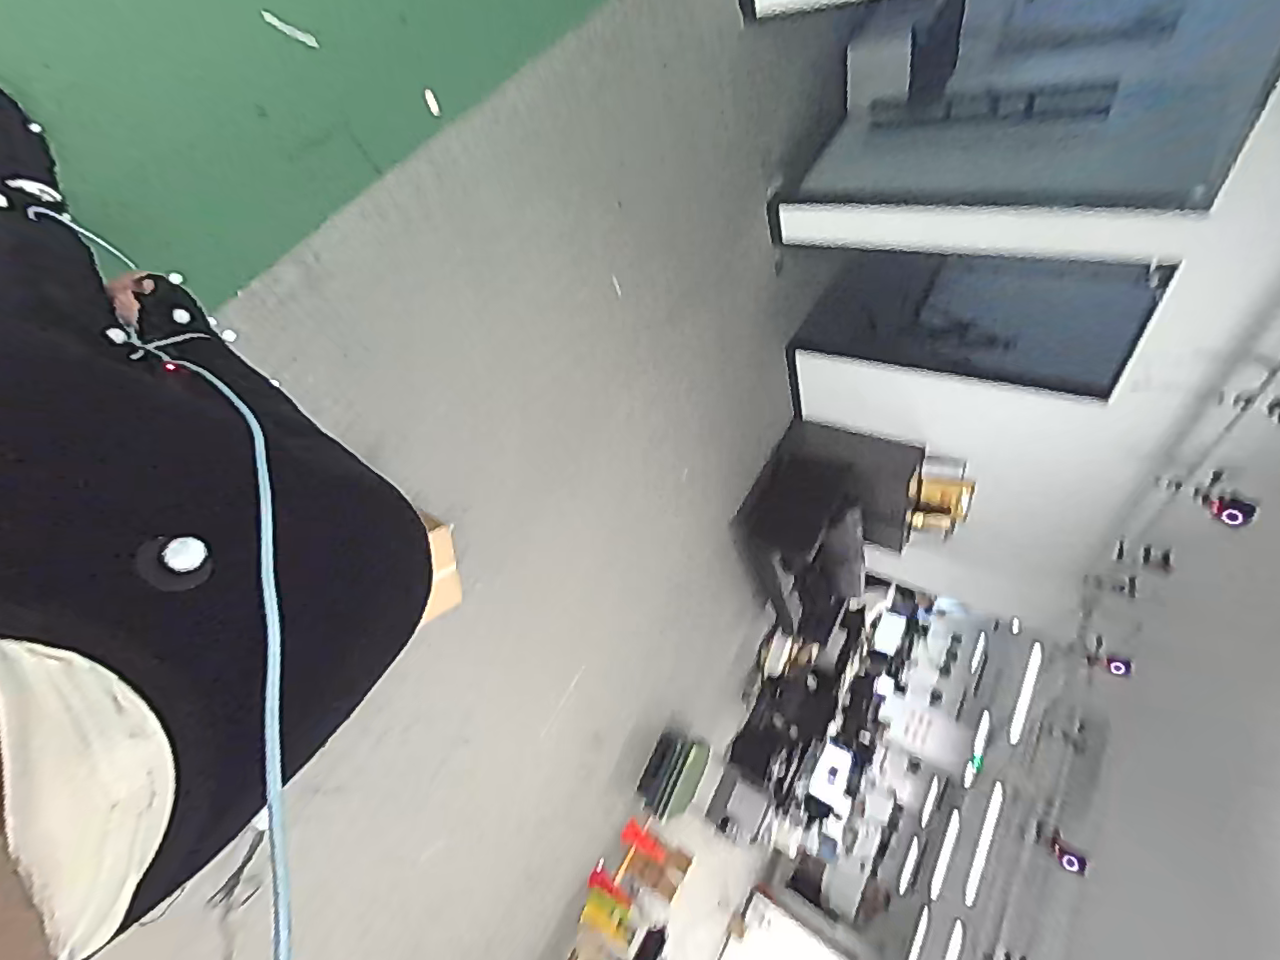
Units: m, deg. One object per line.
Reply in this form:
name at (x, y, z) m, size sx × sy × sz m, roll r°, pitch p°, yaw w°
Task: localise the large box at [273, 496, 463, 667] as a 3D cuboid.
large box at (-0.841, 0.296, 1.710) m, size 0.408 × 0.320 × 0.320 m, roll -32°, pitch 132°, yaw -46°
